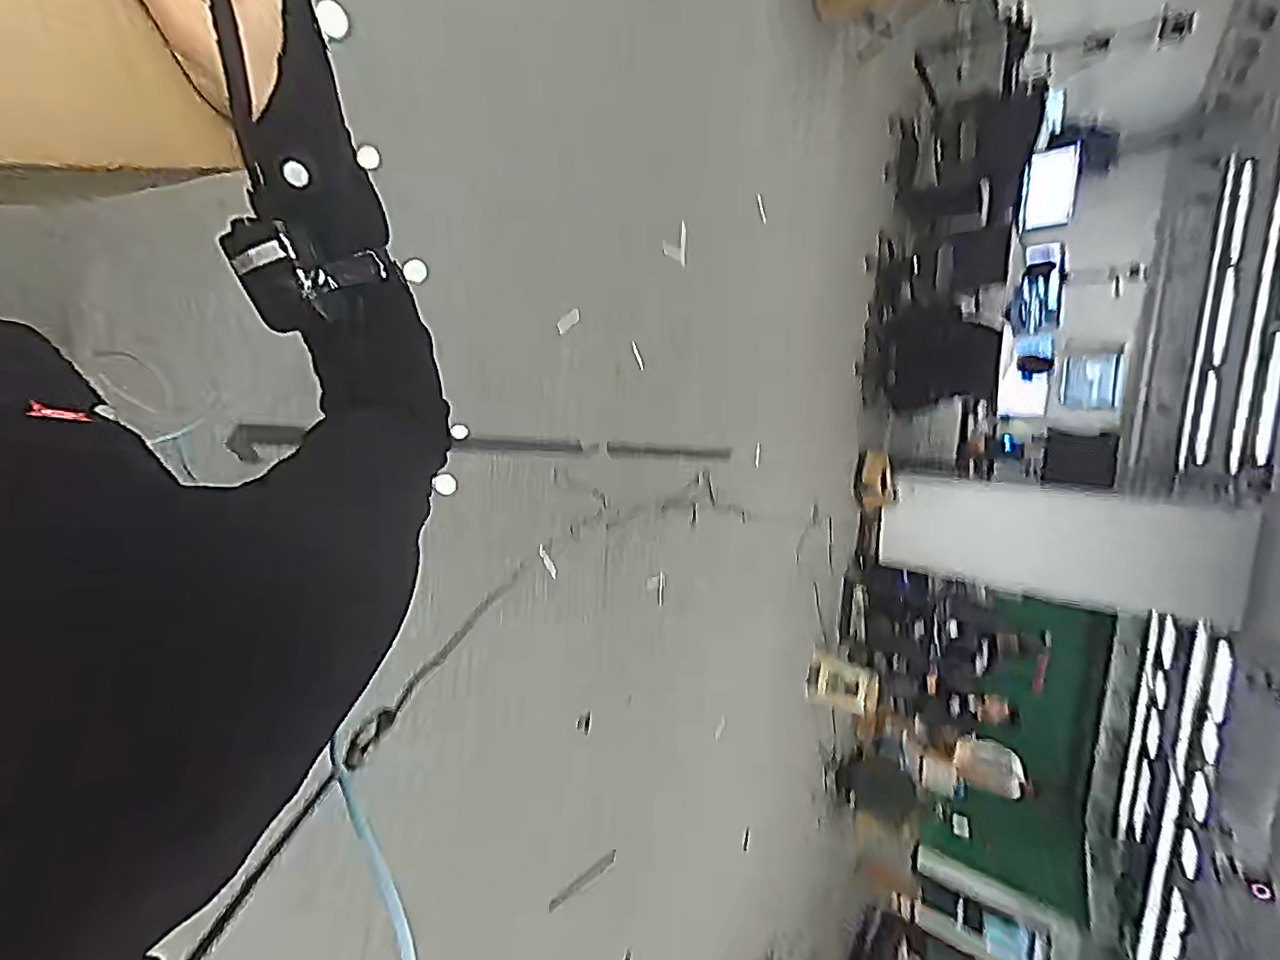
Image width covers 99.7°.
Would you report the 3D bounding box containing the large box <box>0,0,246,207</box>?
[{"bbox_3d":[-0.469,-0.266,0.183,0.408,0.320,0.320,-34,131,-47],"label":"large box"}]
